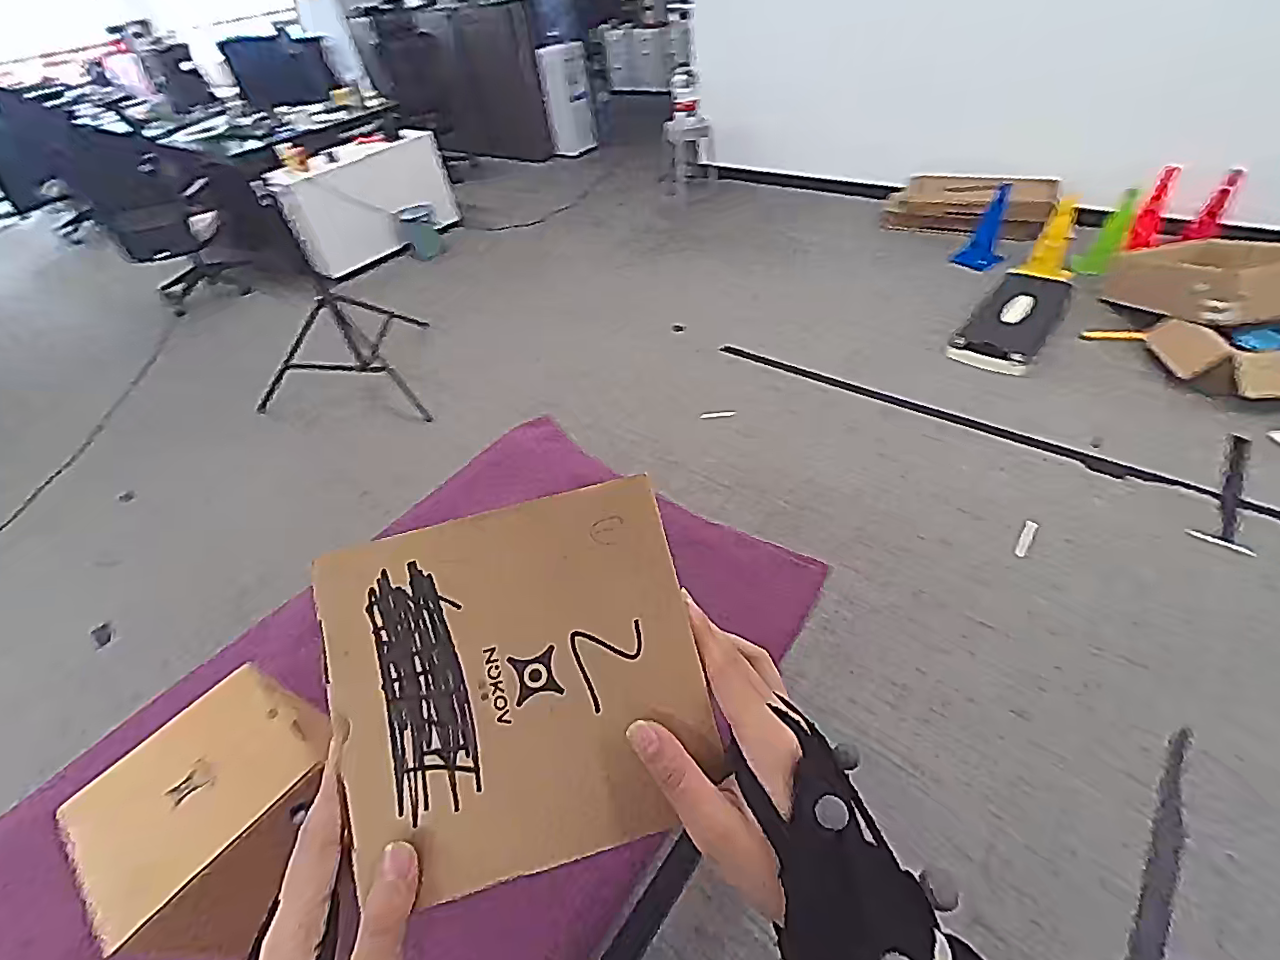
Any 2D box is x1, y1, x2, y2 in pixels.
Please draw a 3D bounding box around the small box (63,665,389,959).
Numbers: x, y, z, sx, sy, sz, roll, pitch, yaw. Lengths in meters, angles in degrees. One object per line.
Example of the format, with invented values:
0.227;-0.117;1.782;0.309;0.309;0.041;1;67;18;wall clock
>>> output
-0.396;0.333;0.544;0.168;0.176;0.179;26;54;30;small box
